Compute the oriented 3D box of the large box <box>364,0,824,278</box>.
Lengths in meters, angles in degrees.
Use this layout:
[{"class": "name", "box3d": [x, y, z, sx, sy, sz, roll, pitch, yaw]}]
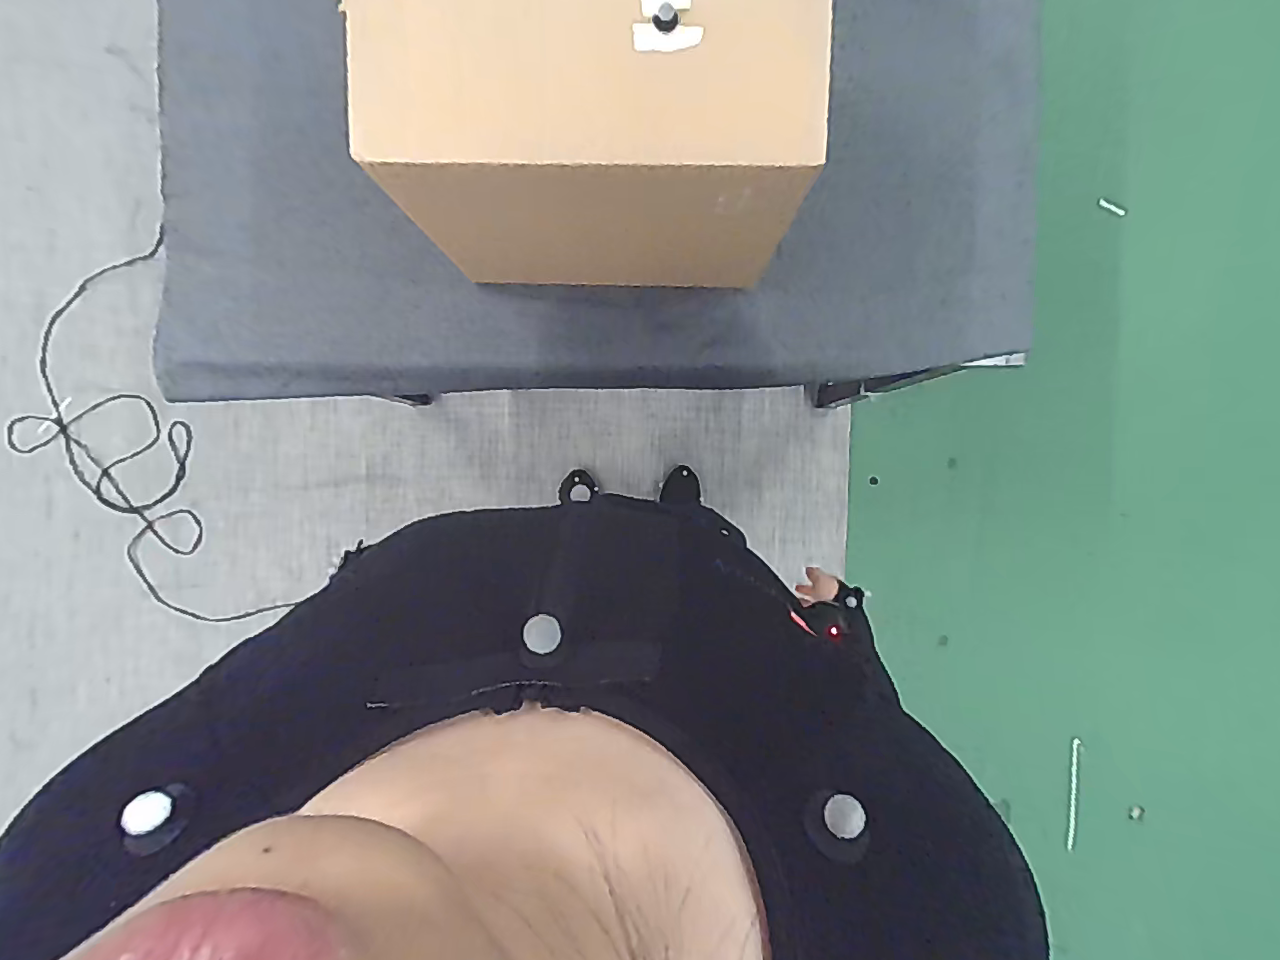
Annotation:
[{"class": "large box", "box3d": [-0.041, -0.436, 0.614, 0.408, 0.320, 0.320, 0, 93, 0]}]
